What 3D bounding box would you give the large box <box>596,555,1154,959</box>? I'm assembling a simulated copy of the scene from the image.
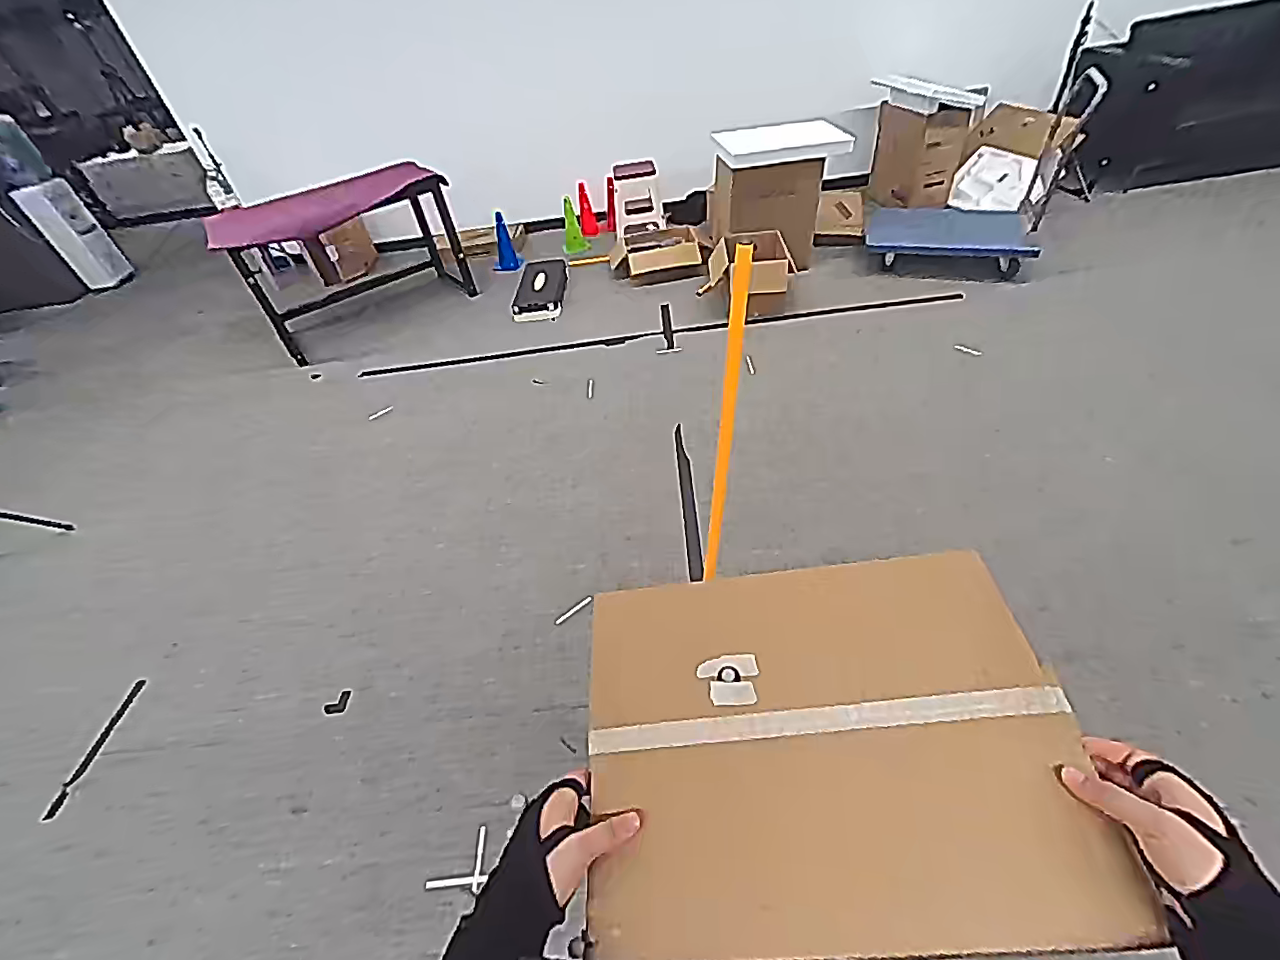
[{"bbox_3d":[0.186,0.320,0.599,0.408,0.320,0.320,-10,47,8],"label":"large box"}]
